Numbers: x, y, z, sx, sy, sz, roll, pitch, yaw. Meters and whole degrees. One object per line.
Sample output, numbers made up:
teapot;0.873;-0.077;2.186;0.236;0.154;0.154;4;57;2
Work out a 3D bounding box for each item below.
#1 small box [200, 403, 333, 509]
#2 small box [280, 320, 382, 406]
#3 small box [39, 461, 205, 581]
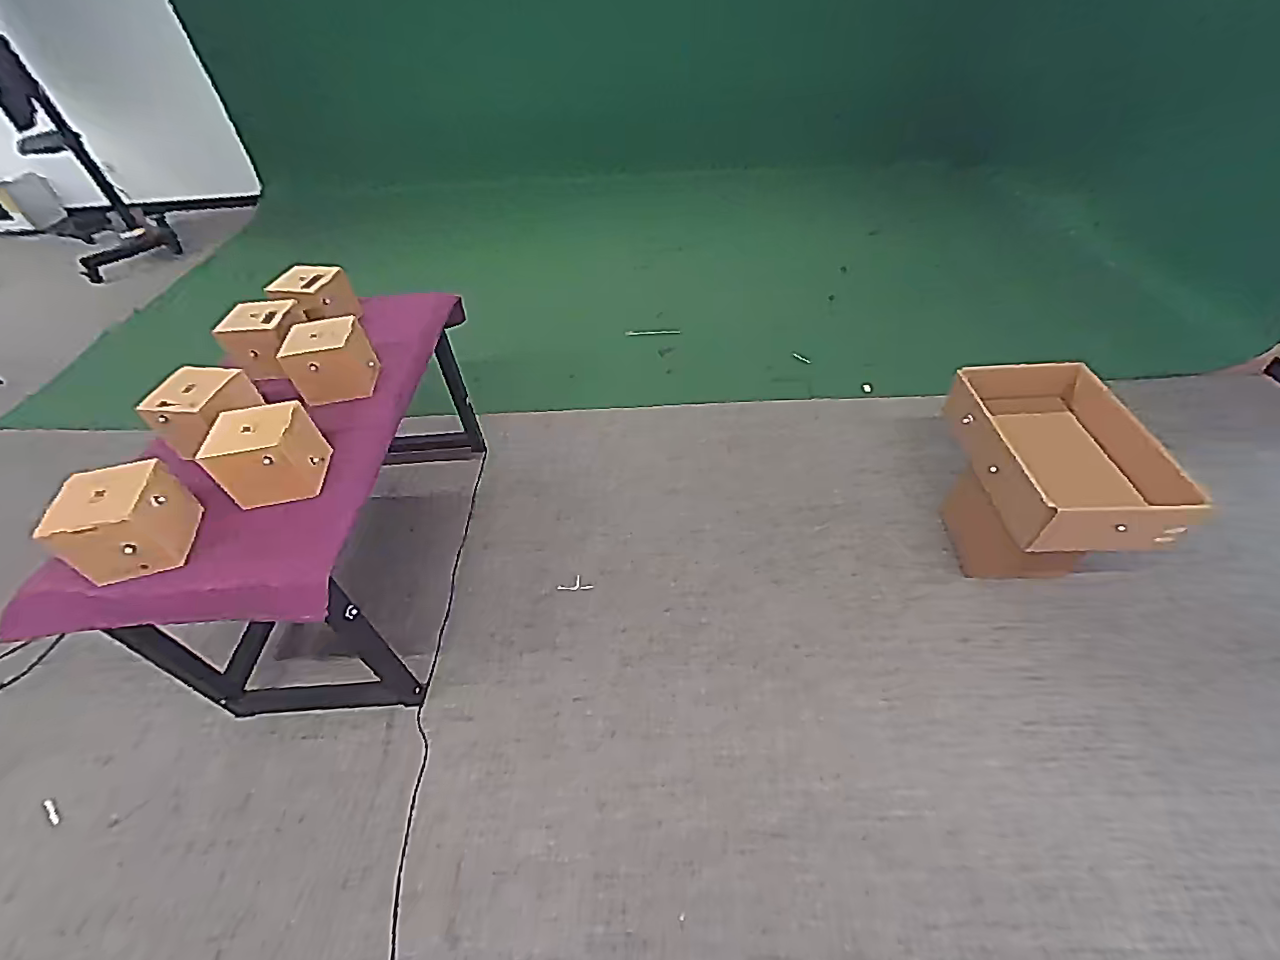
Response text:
small box;-0.856;-0.052;1.261;0.179;0.176;0.168;-10;46;-5
small box;-0.858;-0.324;1.519;0.179;0.176;0.168;-10;47;-4
small box;-1.068;0.092;1.137;0.168;0.176;0.179;-13;46;-10
